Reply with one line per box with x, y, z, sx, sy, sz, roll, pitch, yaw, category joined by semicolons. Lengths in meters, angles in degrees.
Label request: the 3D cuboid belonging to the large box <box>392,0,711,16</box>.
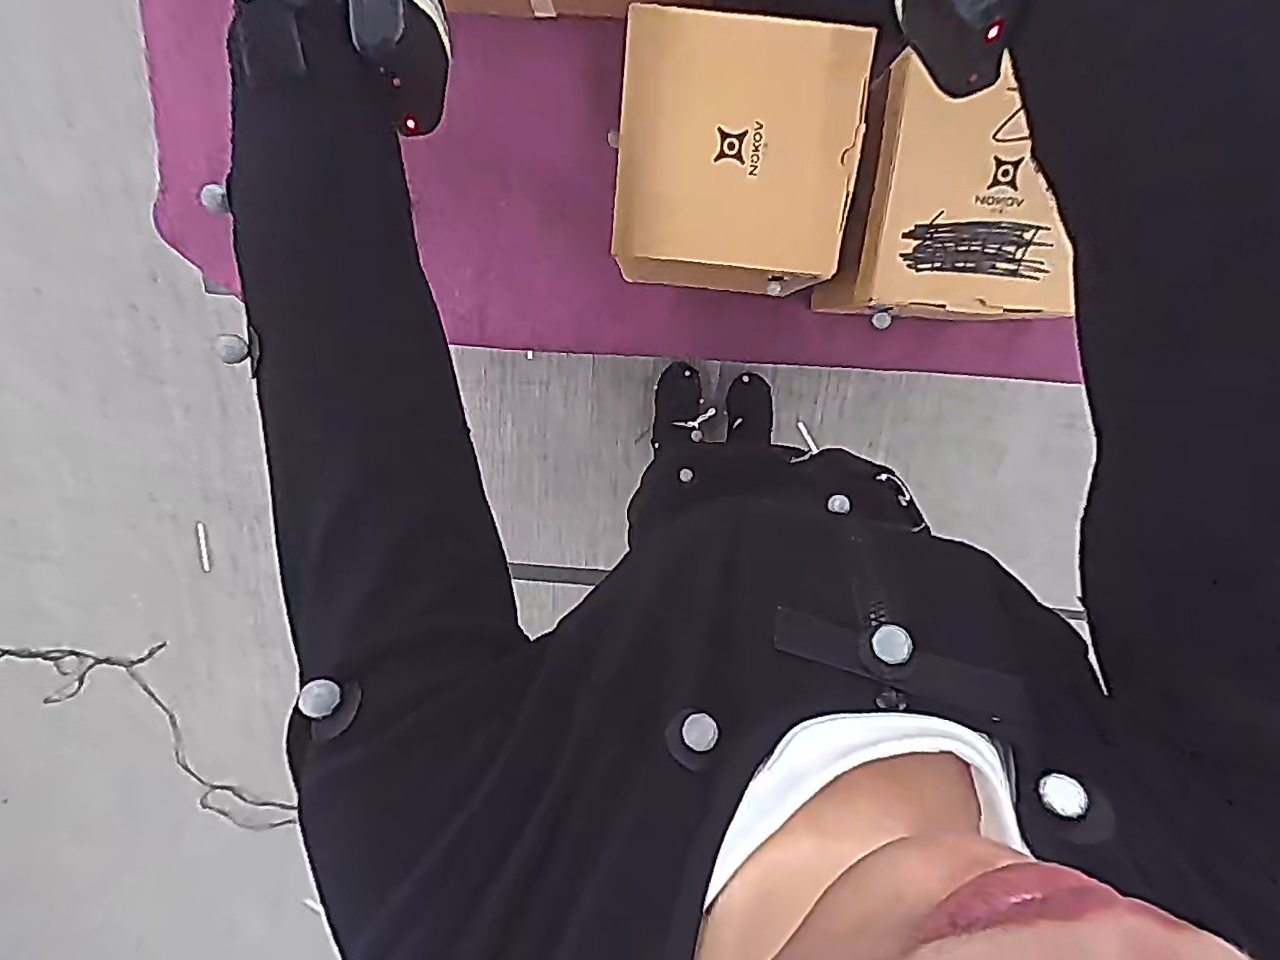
-0.082;-0.588;0.314;0.320;0.320;0.408;1;108;1;large box
